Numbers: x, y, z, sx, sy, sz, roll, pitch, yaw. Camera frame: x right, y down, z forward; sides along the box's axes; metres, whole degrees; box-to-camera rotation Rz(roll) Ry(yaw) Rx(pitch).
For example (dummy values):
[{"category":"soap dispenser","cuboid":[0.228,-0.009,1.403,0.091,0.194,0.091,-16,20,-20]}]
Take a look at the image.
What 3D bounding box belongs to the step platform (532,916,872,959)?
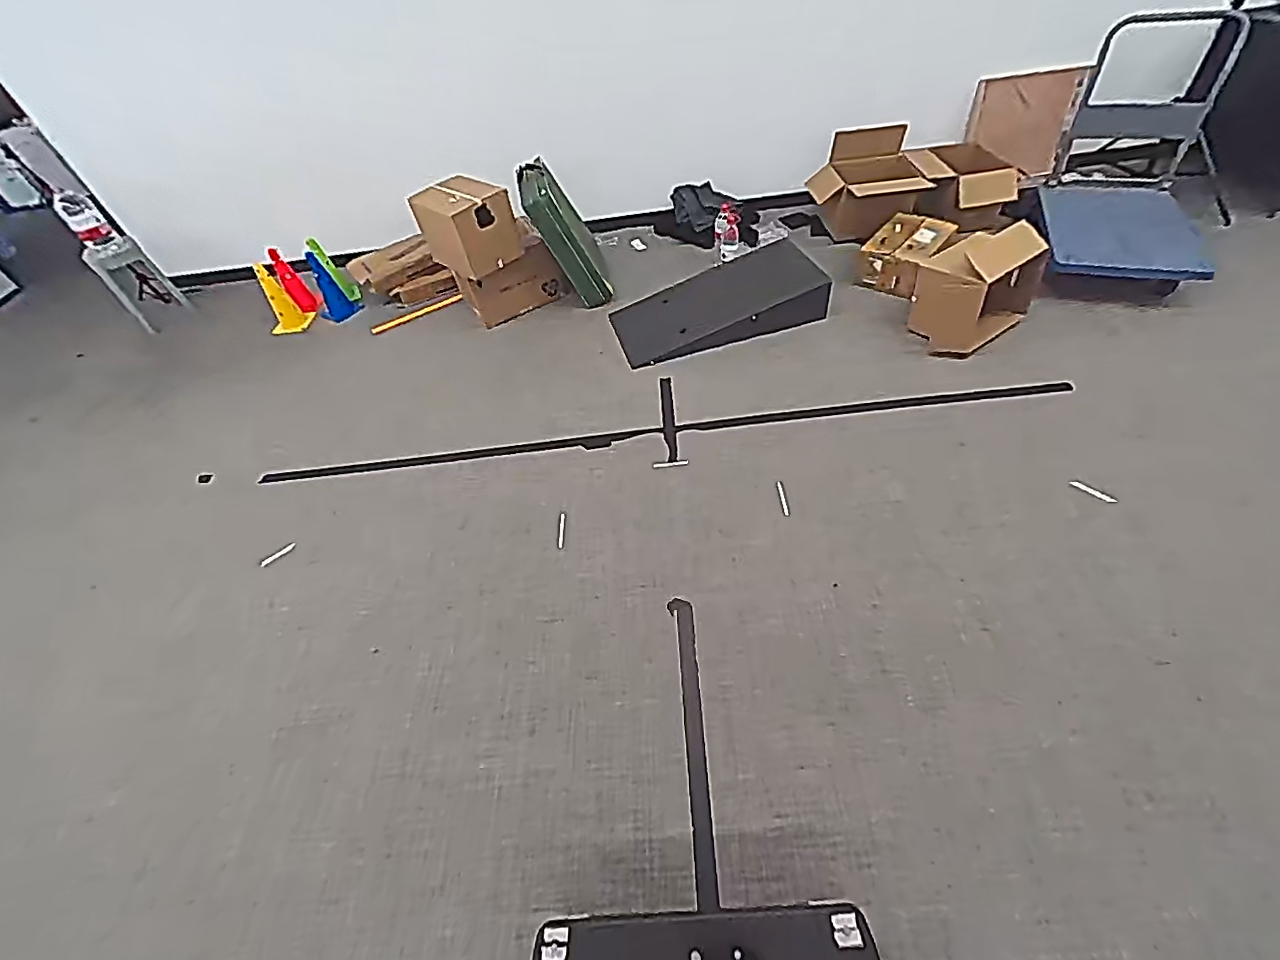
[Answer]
[{"category":"step platform","cuboid":[0.118,1.035,1.030,0.684,0.204,0.286,-6,49,2]}]
